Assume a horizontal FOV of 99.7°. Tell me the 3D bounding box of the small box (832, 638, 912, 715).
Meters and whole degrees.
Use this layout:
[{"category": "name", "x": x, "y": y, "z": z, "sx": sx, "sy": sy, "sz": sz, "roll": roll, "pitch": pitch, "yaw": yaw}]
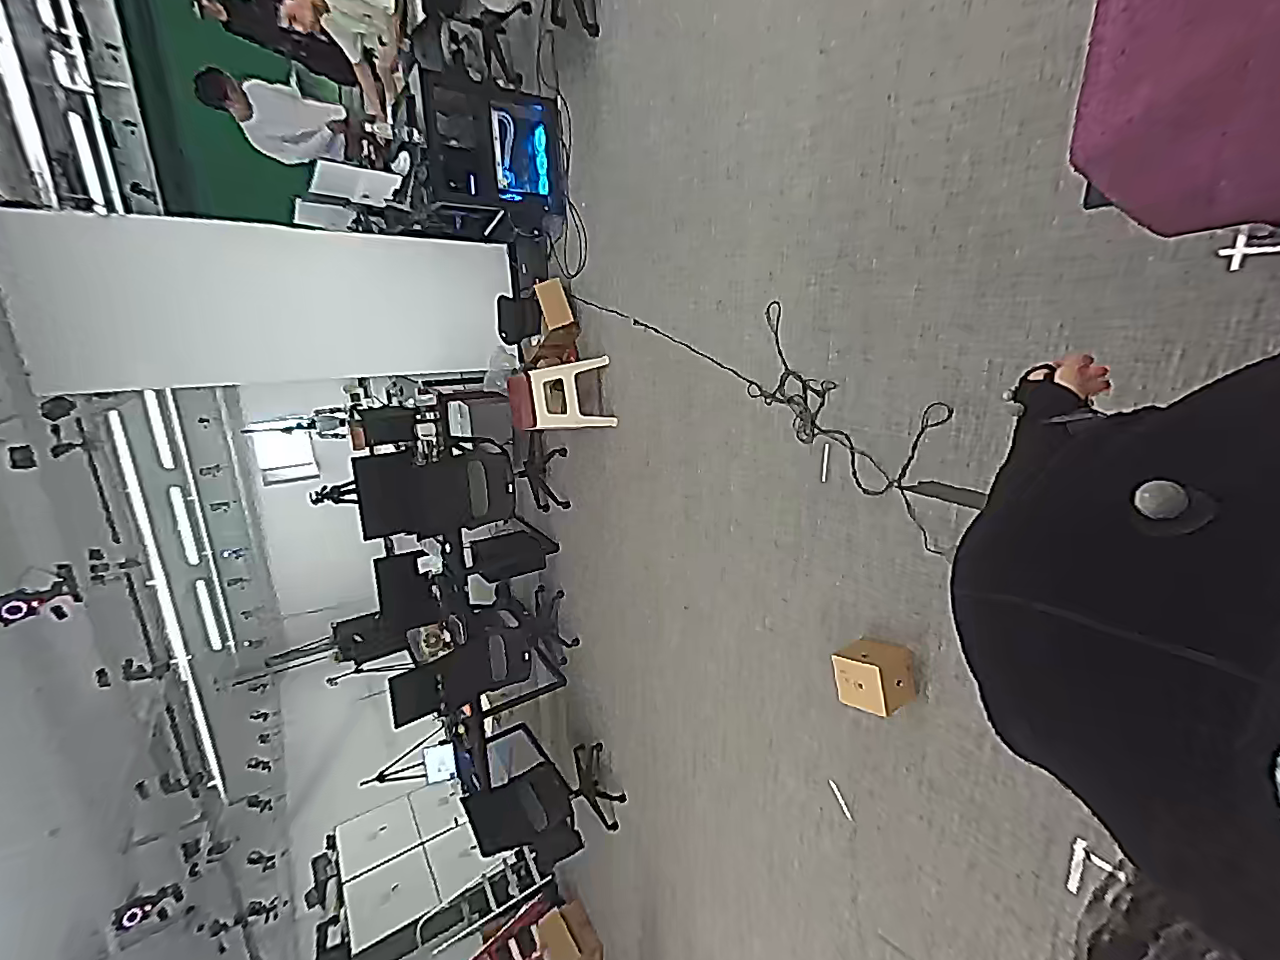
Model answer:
[{"category": "small box", "x": 0.759, "y": 0.628, "z": 1.754, "sx": 0.179, "sy": 0.176, "sz": 0.168, "roll": -5, "pitch": 96, "yaw": 58}]
